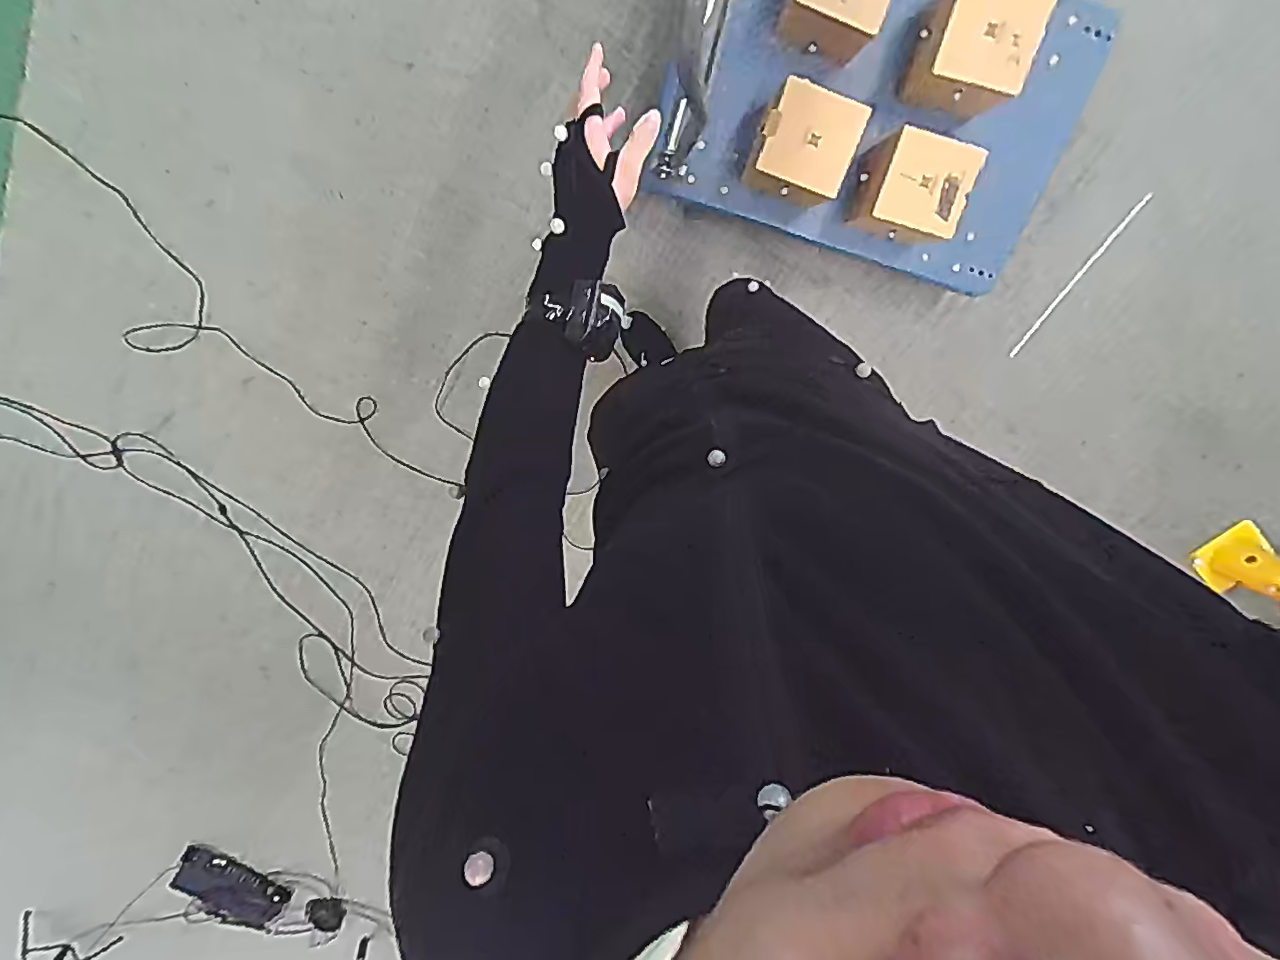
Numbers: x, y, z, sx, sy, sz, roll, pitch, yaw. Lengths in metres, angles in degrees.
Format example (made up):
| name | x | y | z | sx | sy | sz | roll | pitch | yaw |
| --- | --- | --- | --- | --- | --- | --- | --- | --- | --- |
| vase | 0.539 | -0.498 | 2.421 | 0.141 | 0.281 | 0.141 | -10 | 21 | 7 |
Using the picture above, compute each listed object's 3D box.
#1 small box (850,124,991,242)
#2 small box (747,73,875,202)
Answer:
| name | x | y | z | sx | sy | sz | roll | pitch | yaw |
| --- | --- | --- | --- | --- | --- | --- | --- | --- | --- |
| small box | 0.575 | -0.610 | 1.136 | 0.179 | 0.176 | 0.168 | 15 | 109 | -3 |
| small box | 0.340 | -0.690 | 1.113 | 0.179 | 0.176 | 0.168 | 19 | 110 | -5 |
